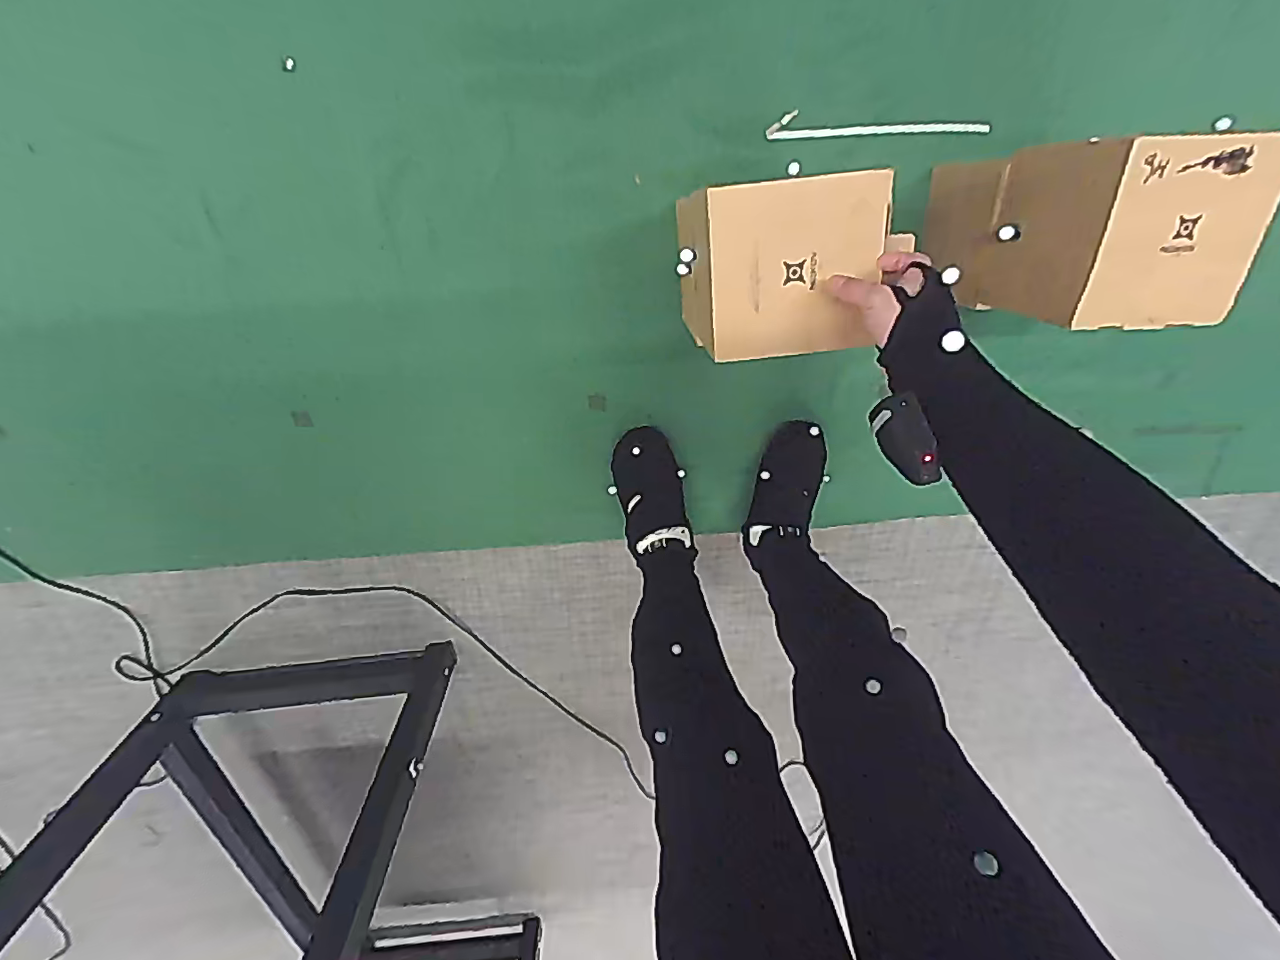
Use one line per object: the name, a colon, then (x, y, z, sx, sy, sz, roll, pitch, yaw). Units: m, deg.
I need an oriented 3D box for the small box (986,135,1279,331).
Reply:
small box: (0.524, -0.273, 0.596, 0.168, 0.176, 0.179, -2, 119, -3)

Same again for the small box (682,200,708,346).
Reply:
small box: (0.150, -0.298, 0.751, 0.168, 0.176, 0.179, -6, 116, 1)

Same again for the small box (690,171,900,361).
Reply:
small box: (0.156, -0.239, 0.599, 0.179, 0.176, 0.168, -6, 116, 1)
